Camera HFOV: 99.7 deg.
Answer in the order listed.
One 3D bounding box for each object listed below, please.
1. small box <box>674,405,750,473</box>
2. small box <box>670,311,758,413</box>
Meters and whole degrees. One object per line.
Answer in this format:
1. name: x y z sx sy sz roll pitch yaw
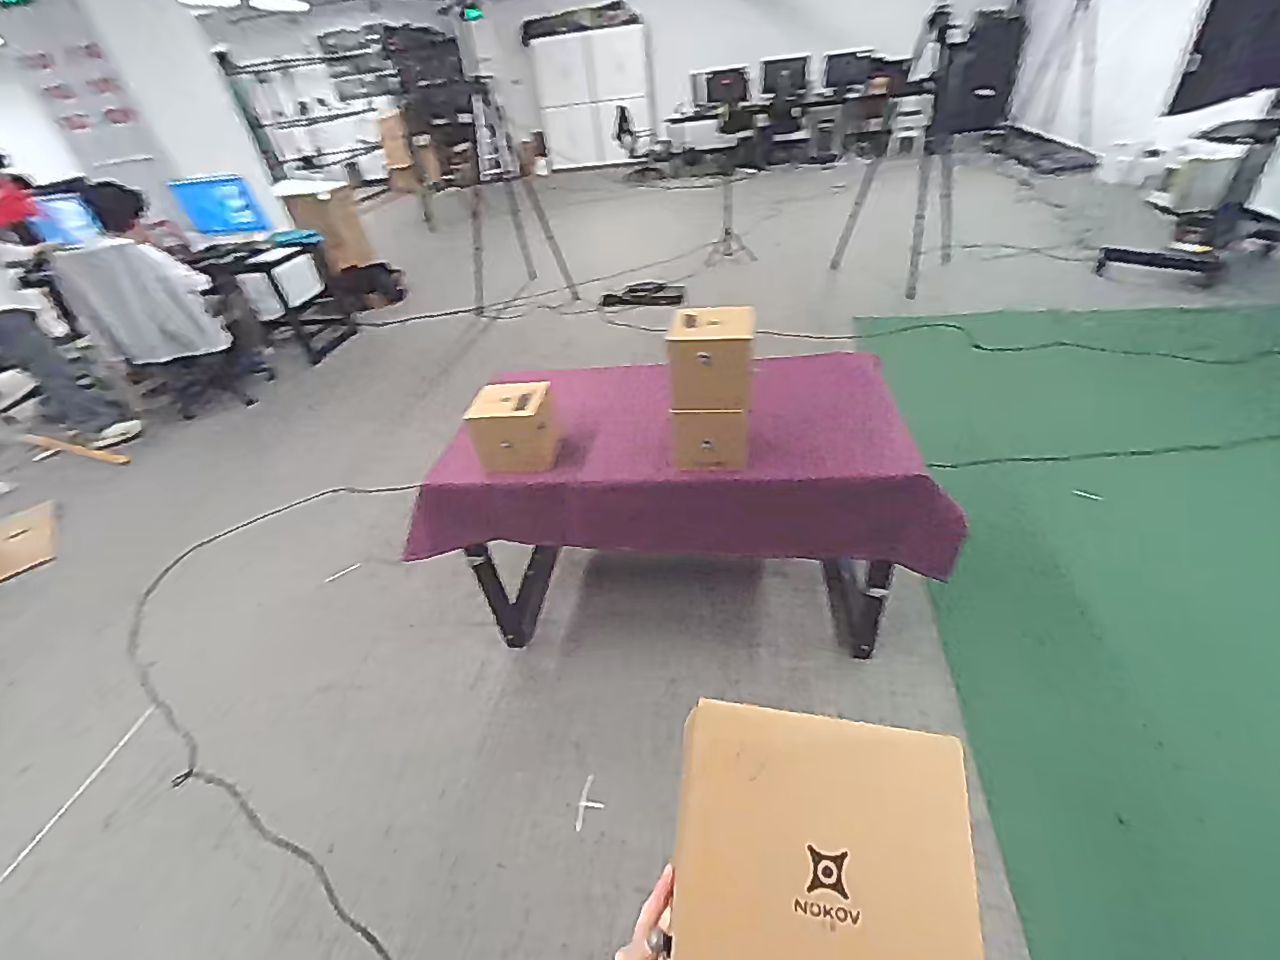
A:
1. small box: 0.179 -0.130 1.300 0.168 0.176 0.179 2 39 12
2. small box: 0.170 -0.260 1.200 0.179 0.176 0.168 2 39 12
